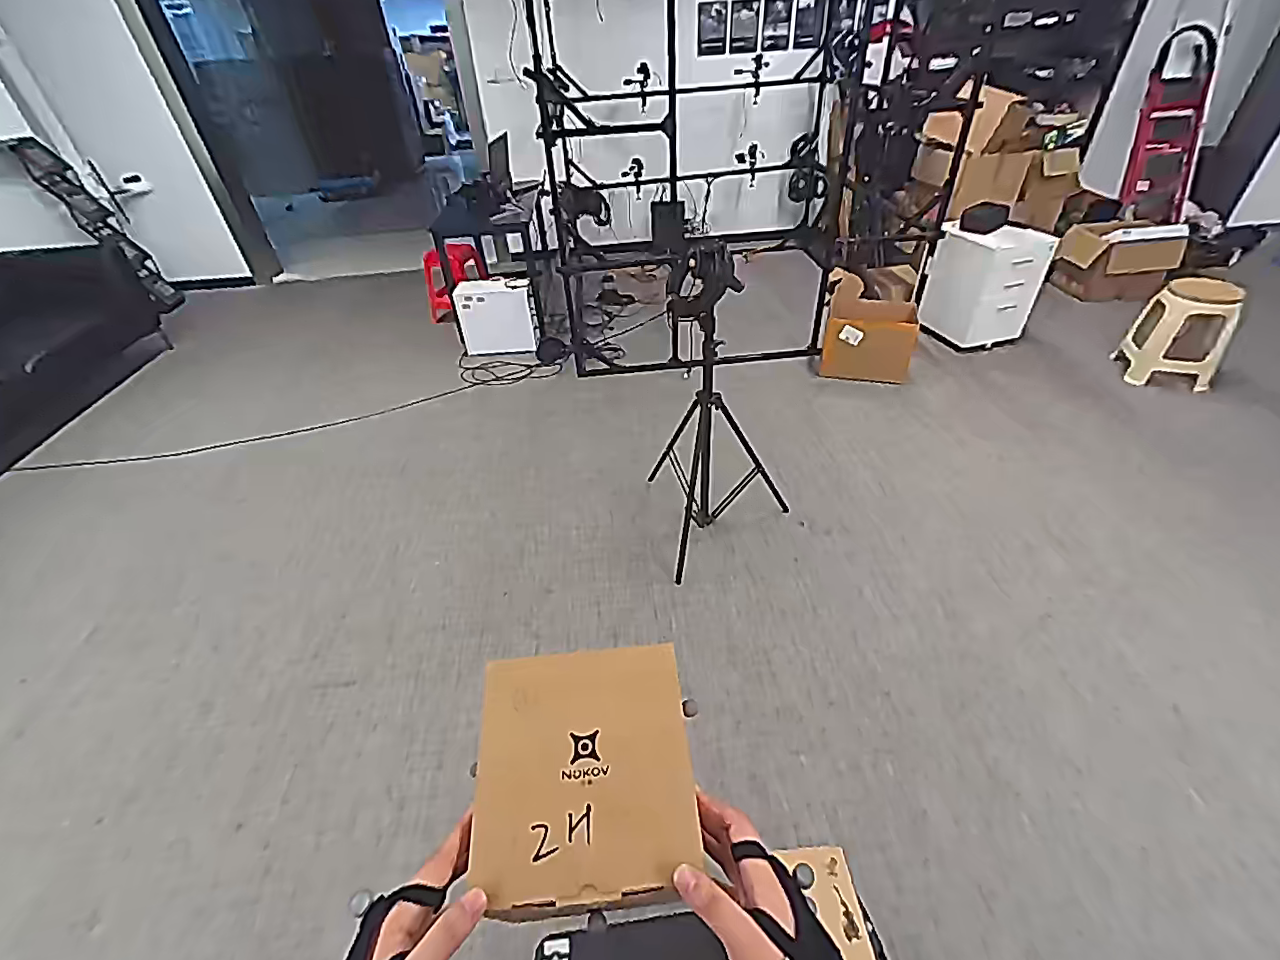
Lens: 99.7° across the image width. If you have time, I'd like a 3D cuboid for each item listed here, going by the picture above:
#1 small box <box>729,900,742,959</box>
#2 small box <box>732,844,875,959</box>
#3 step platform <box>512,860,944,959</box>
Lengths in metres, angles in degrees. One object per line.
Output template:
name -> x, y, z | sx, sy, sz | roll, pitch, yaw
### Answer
small box -> 0.252, 0.838, 0.932 | 0.179, 0.176, 0.168 | -7, 38, -2
small box -> 0.243, 0.698, 0.844 | 0.179, 0.176, 0.168 | -5, 38, 0
step platform -> 0.139, 0.853, 0.864 | 0.684, 0.204, 0.286 | -6, 38, -4
